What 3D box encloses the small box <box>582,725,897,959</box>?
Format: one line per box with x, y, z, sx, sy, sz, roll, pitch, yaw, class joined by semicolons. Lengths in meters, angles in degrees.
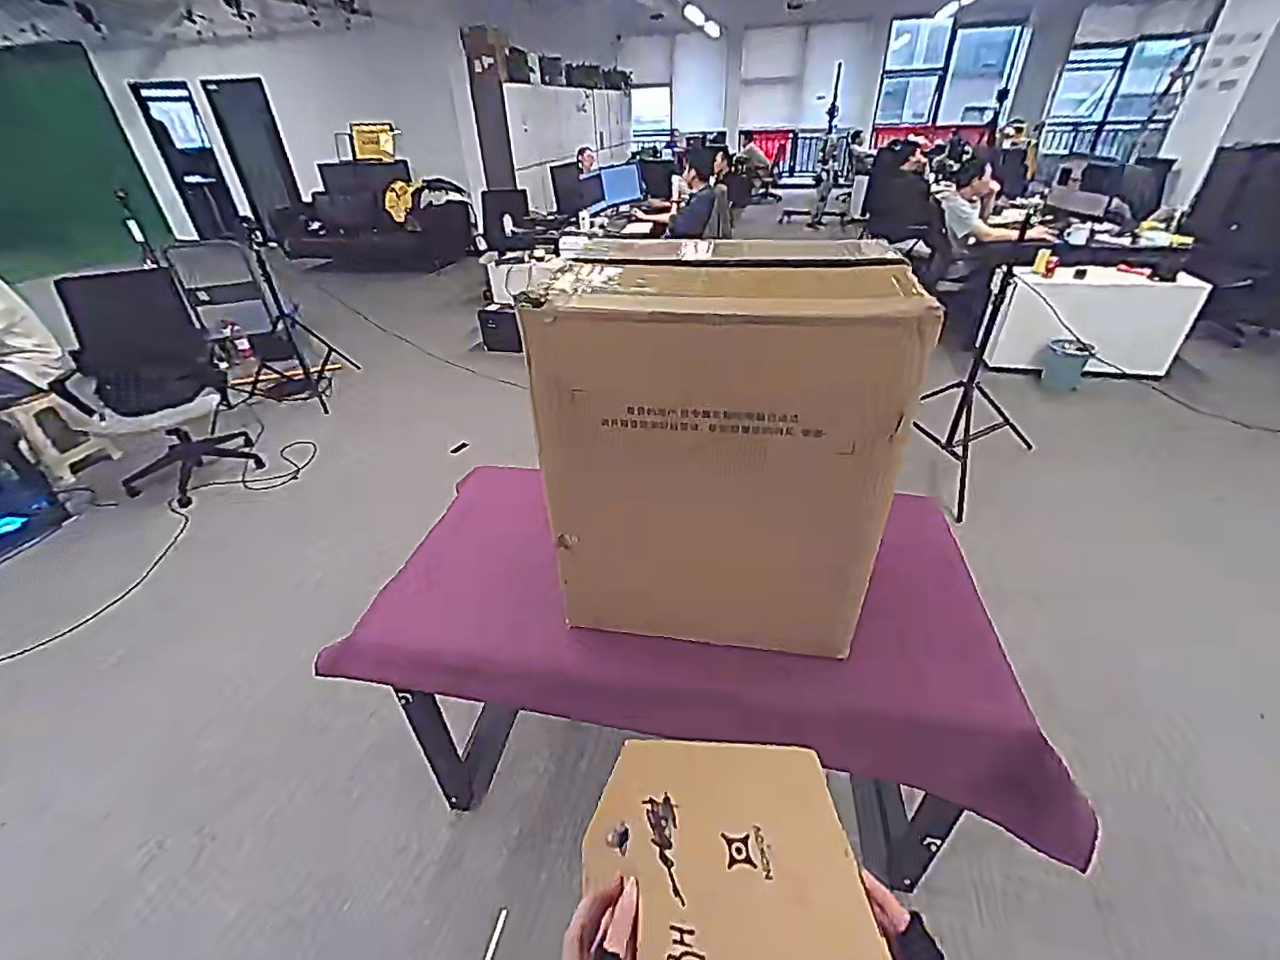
0.058;0.326;0.432;0.179;0.176;0.168;11;30;-13;small box
